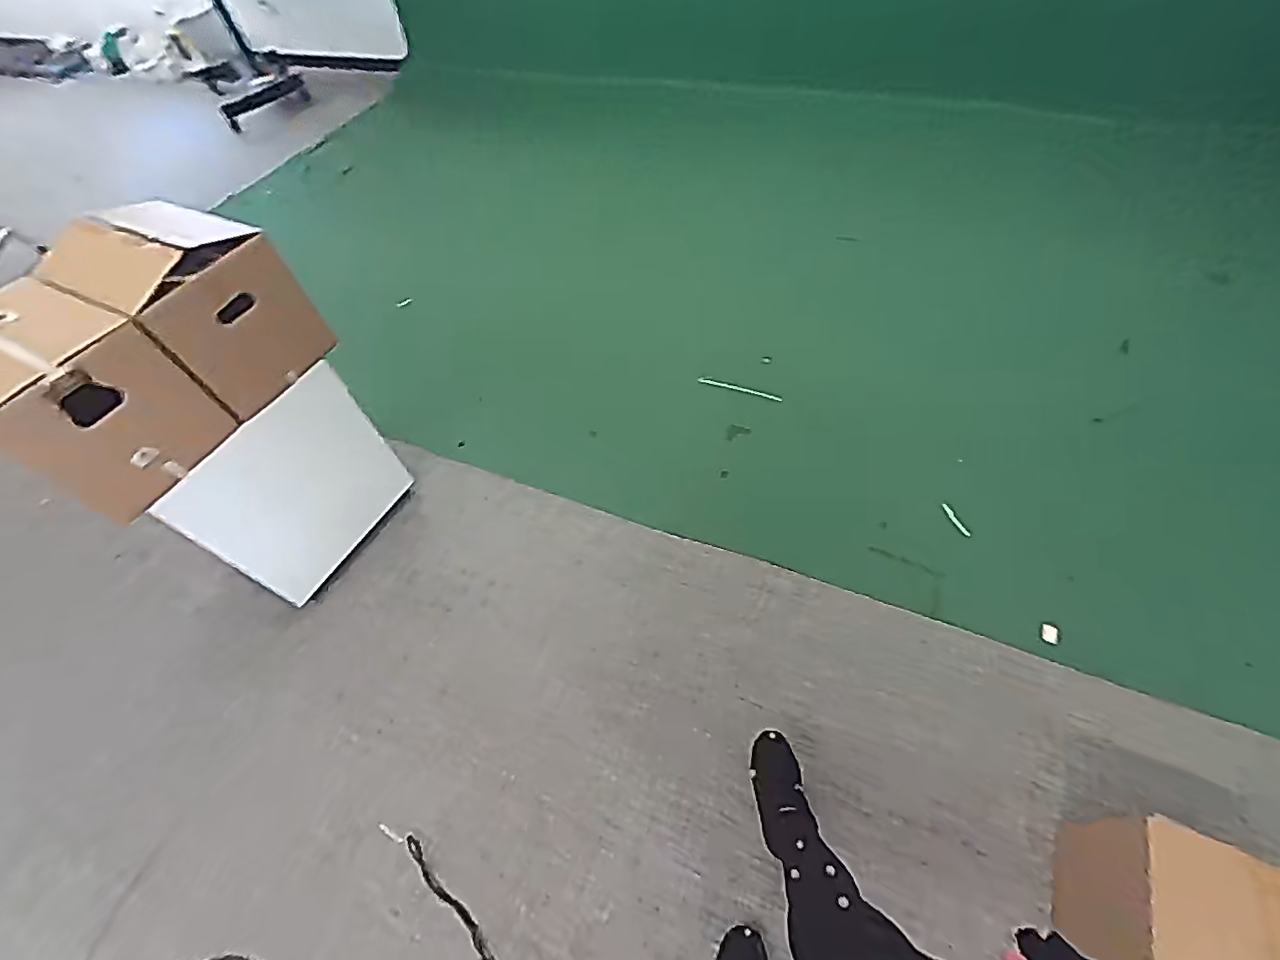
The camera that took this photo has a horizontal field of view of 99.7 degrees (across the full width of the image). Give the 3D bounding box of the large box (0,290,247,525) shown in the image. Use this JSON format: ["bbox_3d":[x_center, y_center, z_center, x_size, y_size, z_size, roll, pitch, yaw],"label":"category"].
[{"bbox_3d":[-1.183,-0.156,1.159,0.408,0.320,0.320,20,59,21],"label":"large box"}]
